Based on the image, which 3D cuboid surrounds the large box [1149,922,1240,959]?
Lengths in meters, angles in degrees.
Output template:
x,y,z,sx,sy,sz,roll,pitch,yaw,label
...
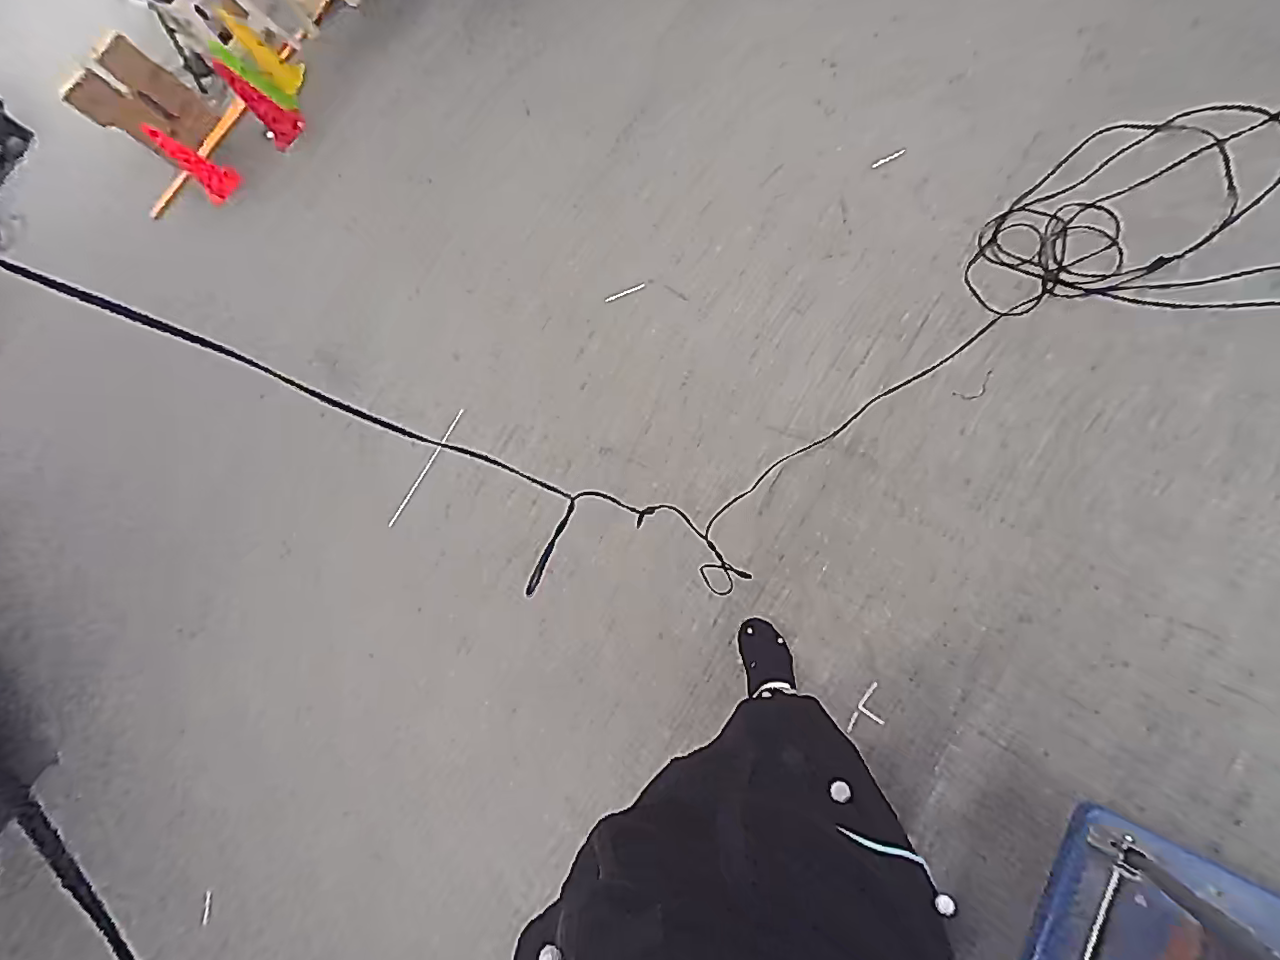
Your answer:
x,y,z,sx,sy,sz,roll,pitch,yaw,label
0.946,0.911,0.693,0.408,0.320,0.320,25,84,23,large box
